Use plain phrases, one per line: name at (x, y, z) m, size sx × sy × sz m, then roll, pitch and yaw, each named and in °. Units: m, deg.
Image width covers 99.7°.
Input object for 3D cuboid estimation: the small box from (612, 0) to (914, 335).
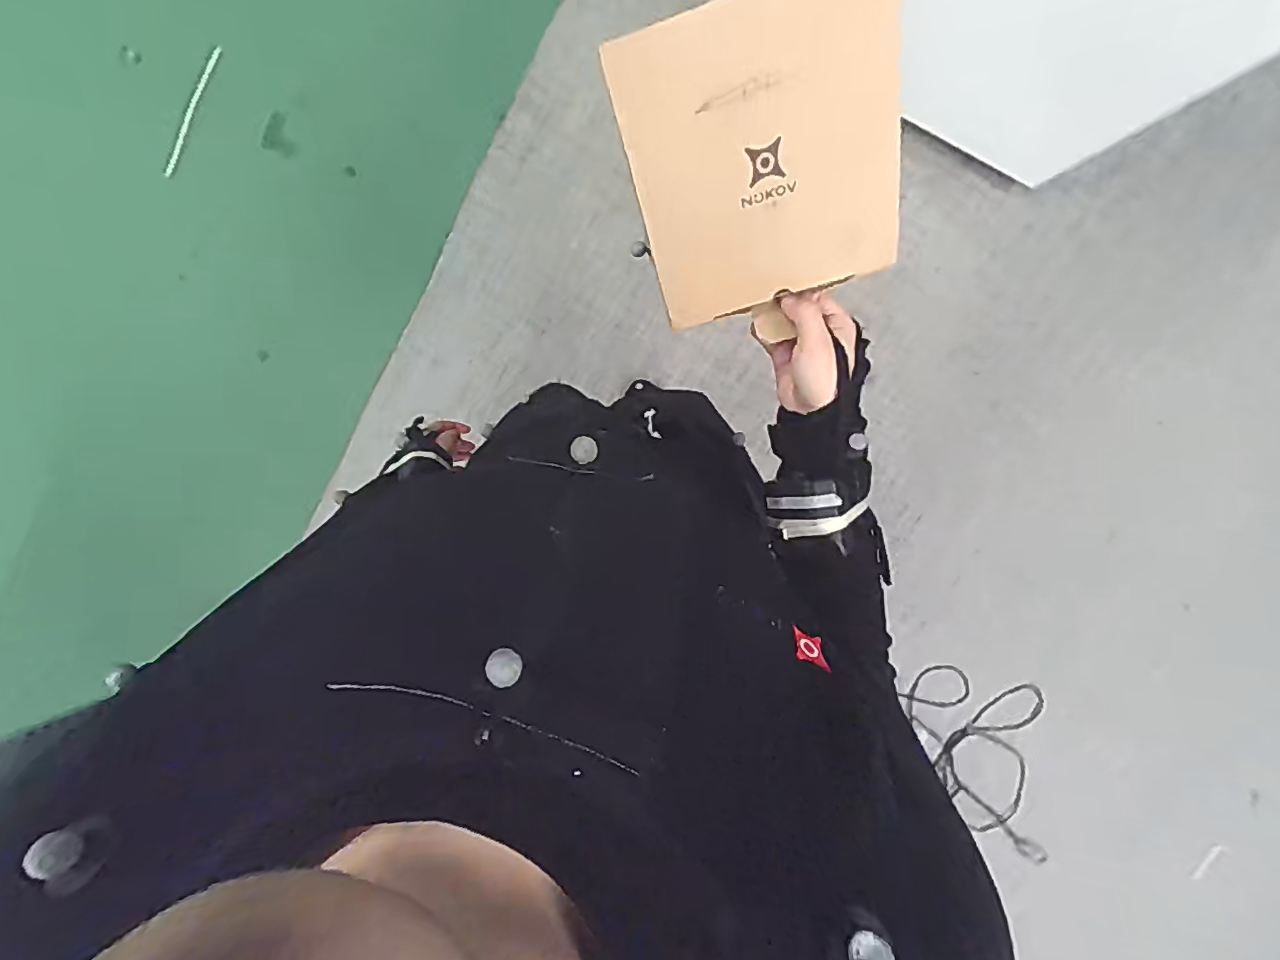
small box at (0.082, -0.240, 0.403) m, size 0.168 × 0.176 × 0.179 m, roll -15°, pitch 127°, yaw 7°
